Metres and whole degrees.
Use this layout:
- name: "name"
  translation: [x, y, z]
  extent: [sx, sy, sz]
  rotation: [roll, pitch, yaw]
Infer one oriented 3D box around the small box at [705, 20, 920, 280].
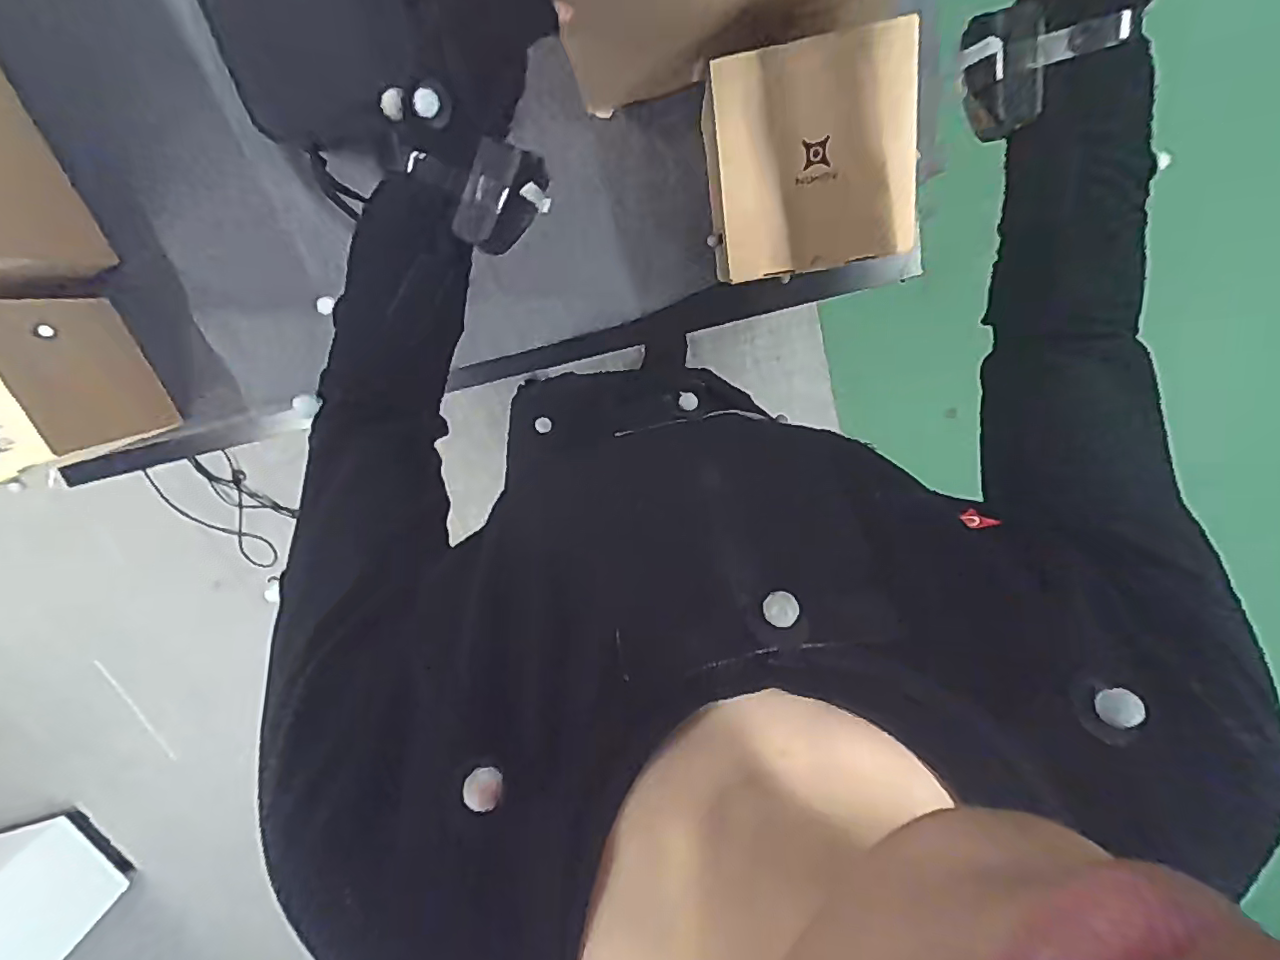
- name: "small box"
  translation: [0.158, -0.302, 0.537]
  extent: [0.168, 0.176, 0.179]
  rotation: [-7, 111, 7]
